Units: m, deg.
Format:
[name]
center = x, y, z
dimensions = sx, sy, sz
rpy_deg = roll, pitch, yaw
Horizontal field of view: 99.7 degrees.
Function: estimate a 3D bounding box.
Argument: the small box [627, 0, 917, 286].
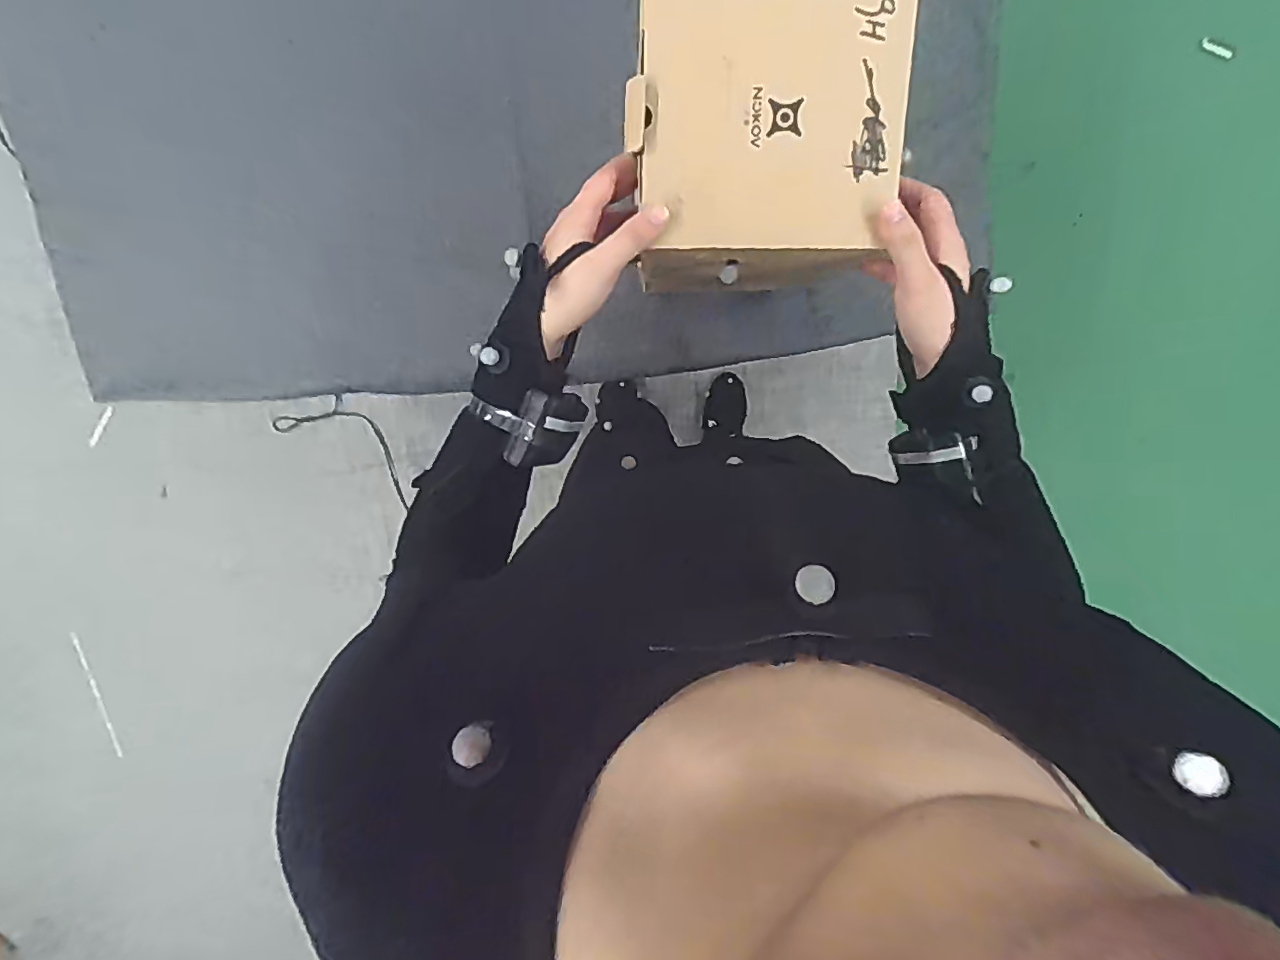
[small box]
center = 0.086, -0.250, 0.423
dimensions = 0.179, 0.176, 0.168
rpy_deg = 2, 103, 3
